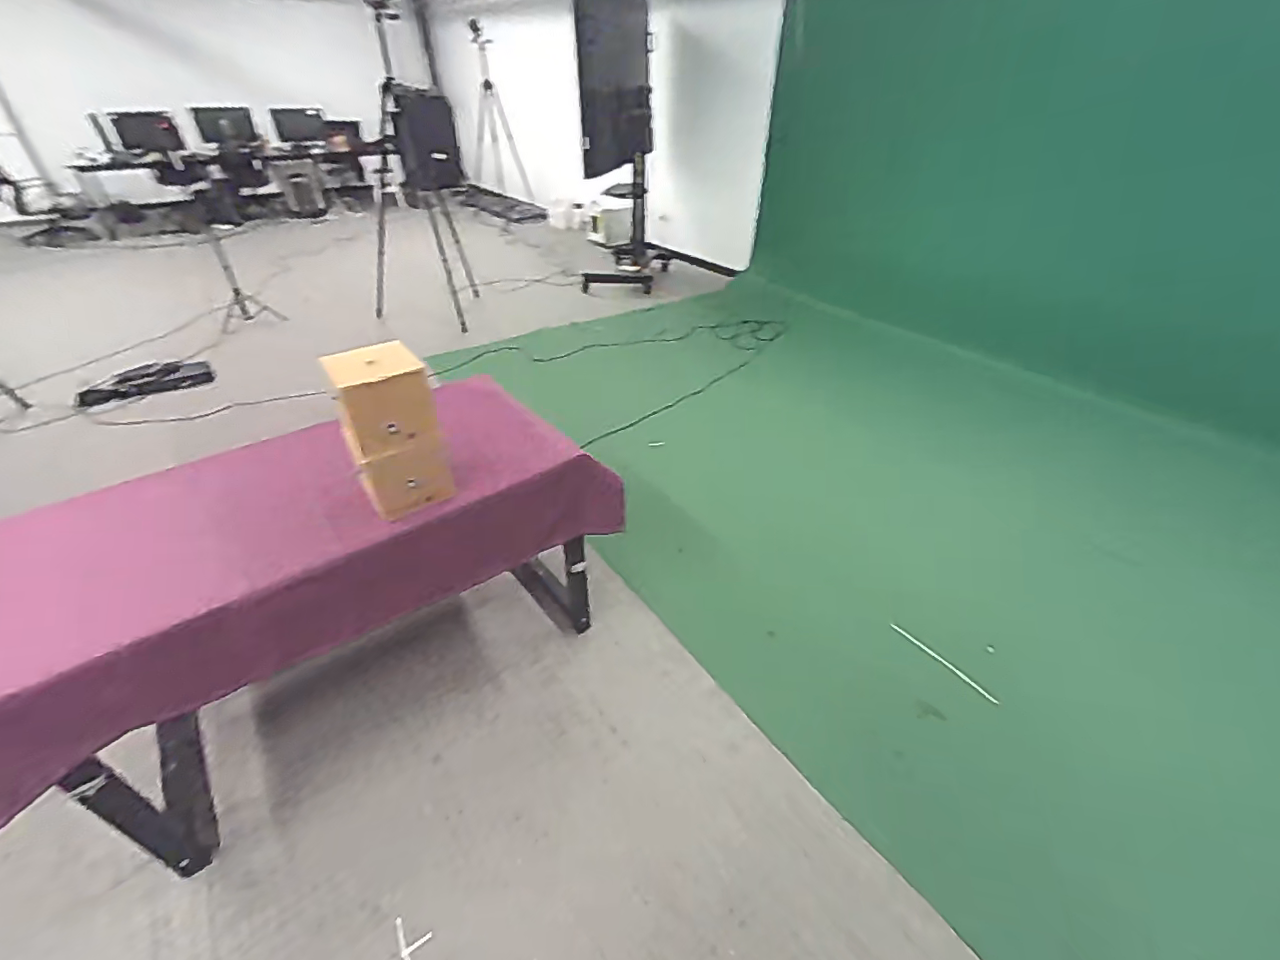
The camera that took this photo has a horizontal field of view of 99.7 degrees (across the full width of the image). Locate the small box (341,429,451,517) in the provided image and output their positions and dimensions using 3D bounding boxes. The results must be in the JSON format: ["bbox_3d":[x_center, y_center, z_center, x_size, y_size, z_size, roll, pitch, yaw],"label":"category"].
[{"bbox_3d":[-0.555,-0.035,1.245,0.168,0.176,0.179,-25,43,-30],"label":"small box"}]

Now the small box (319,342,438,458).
[{"bbox_3d":[-0.555,-0.172,1.155,0.168,0.176,0.179,-25,44,-29],"label":"small box"}]
